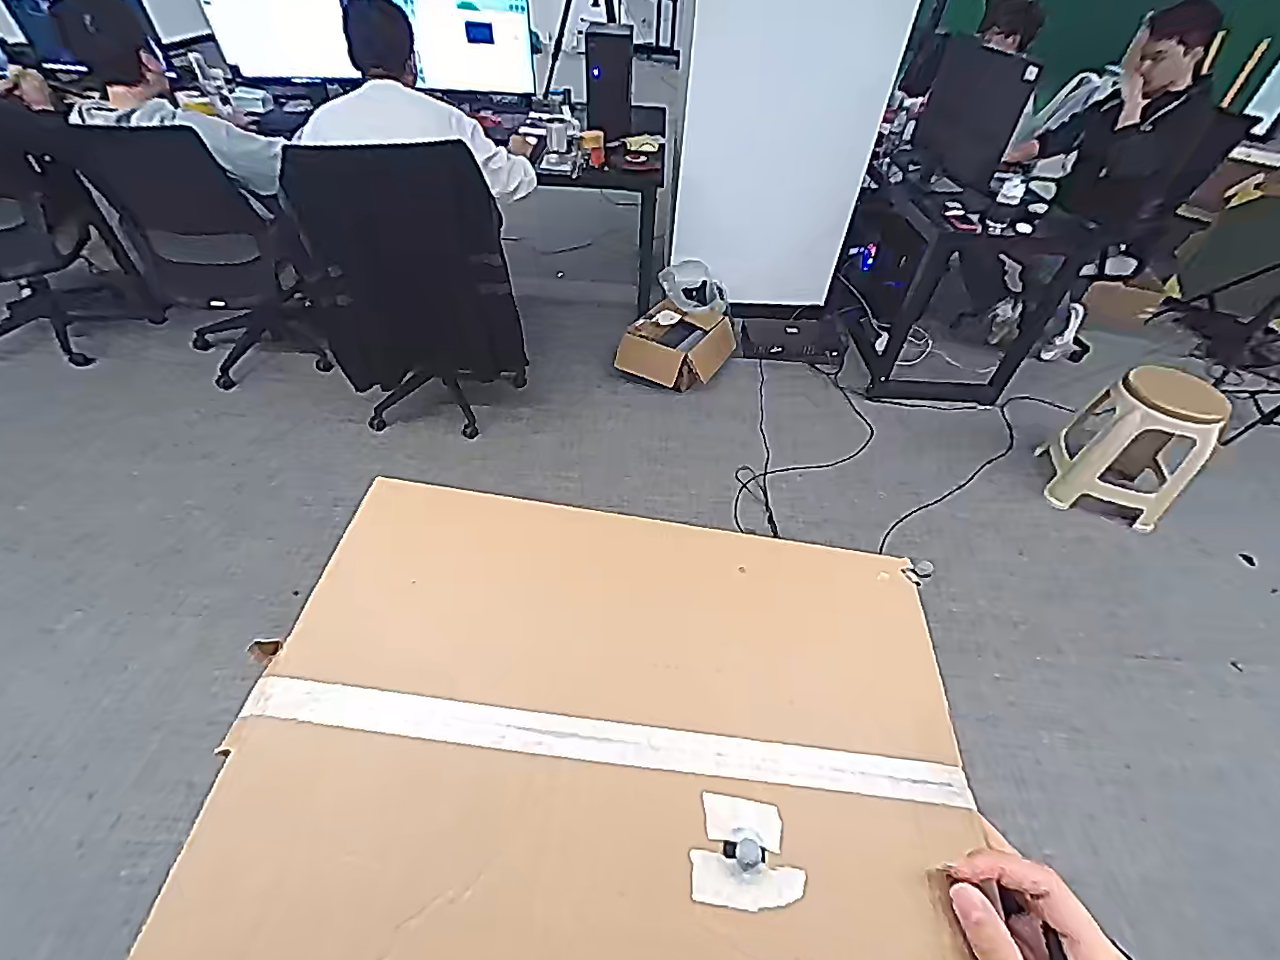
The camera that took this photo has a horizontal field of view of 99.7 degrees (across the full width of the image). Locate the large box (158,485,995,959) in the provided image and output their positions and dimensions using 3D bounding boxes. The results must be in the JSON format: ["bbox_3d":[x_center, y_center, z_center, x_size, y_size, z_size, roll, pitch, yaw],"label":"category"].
[{"bbox_3d":[-0.028,0.242,0.435,0.408,0.320,0.320,10,52,-3],"label":"large box"}]
